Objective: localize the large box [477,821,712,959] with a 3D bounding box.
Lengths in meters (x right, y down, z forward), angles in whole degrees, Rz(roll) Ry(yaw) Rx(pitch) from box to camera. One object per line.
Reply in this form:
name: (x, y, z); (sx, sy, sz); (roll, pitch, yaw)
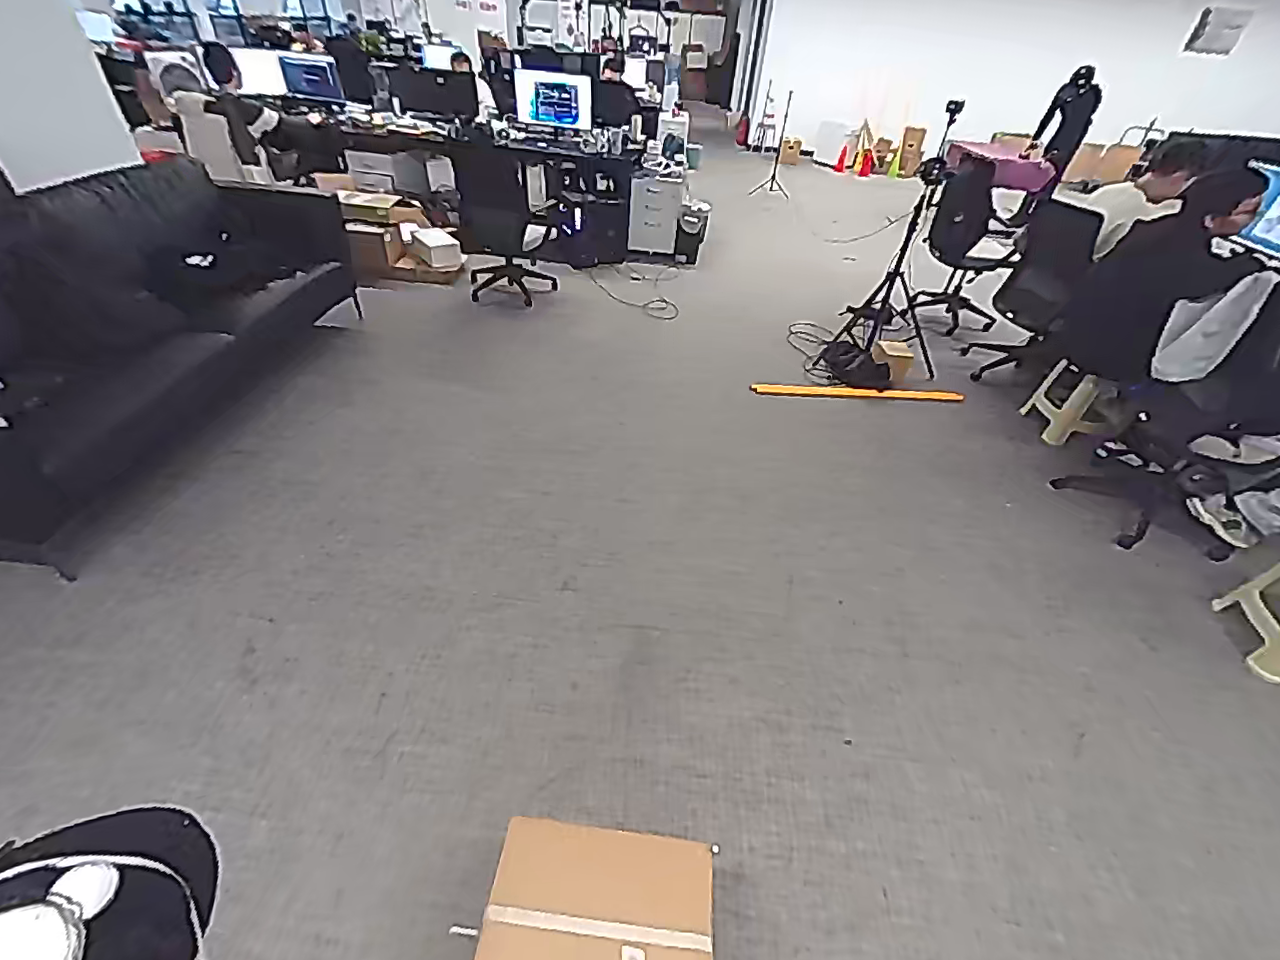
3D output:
large box: (-0.084, 0.908, 1.041); (0.408, 0.320, 0.320); (7, 39, 2)
